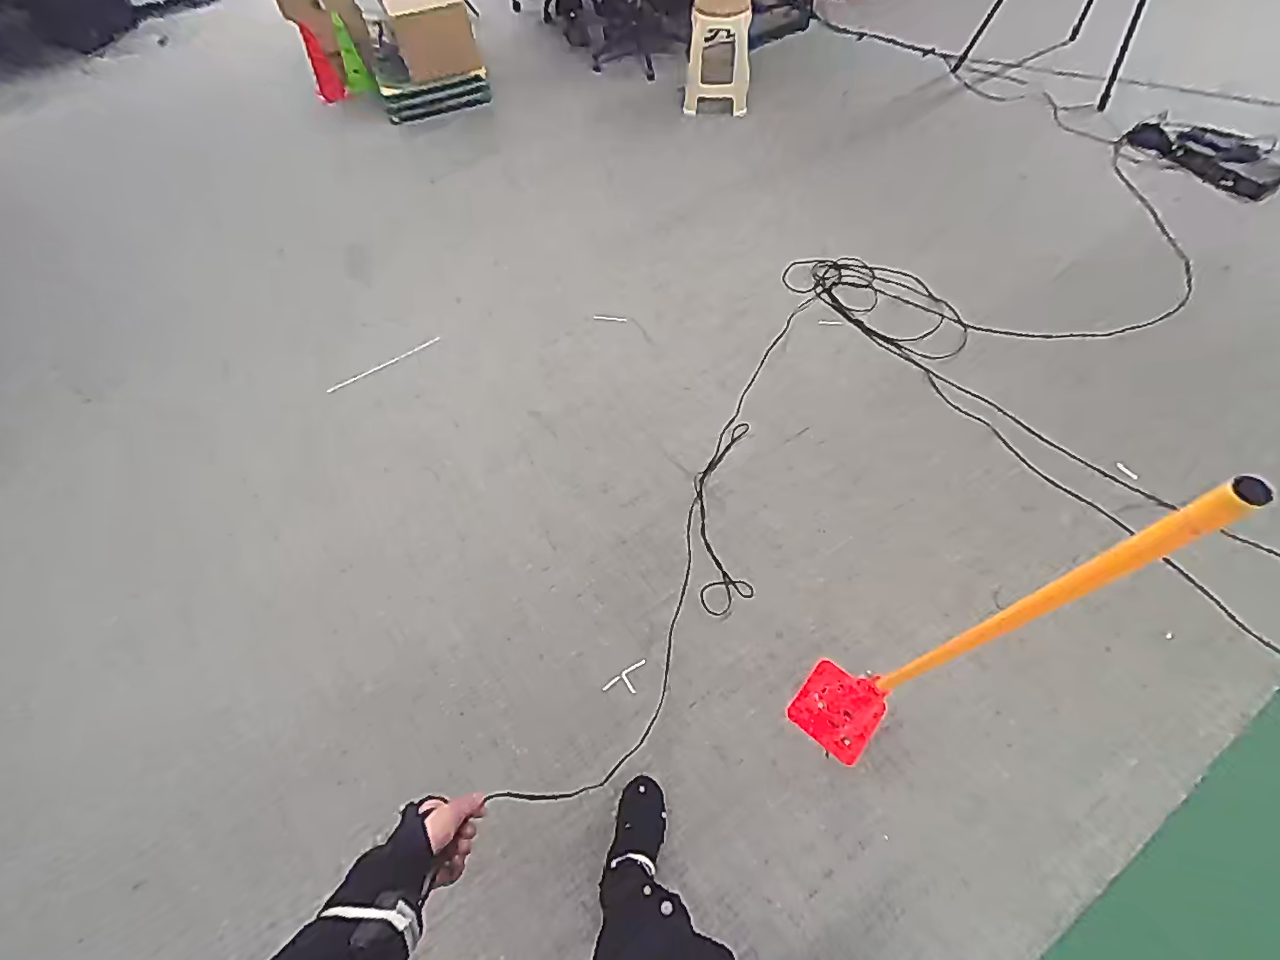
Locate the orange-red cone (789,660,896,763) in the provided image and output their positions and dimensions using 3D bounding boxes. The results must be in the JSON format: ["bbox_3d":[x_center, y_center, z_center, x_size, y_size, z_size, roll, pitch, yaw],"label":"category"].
[{"bbox_3d":[0.513,0.512,1.267,0.198,0.360,0.199,37,66,21],"label":"orange-red cone"}]
